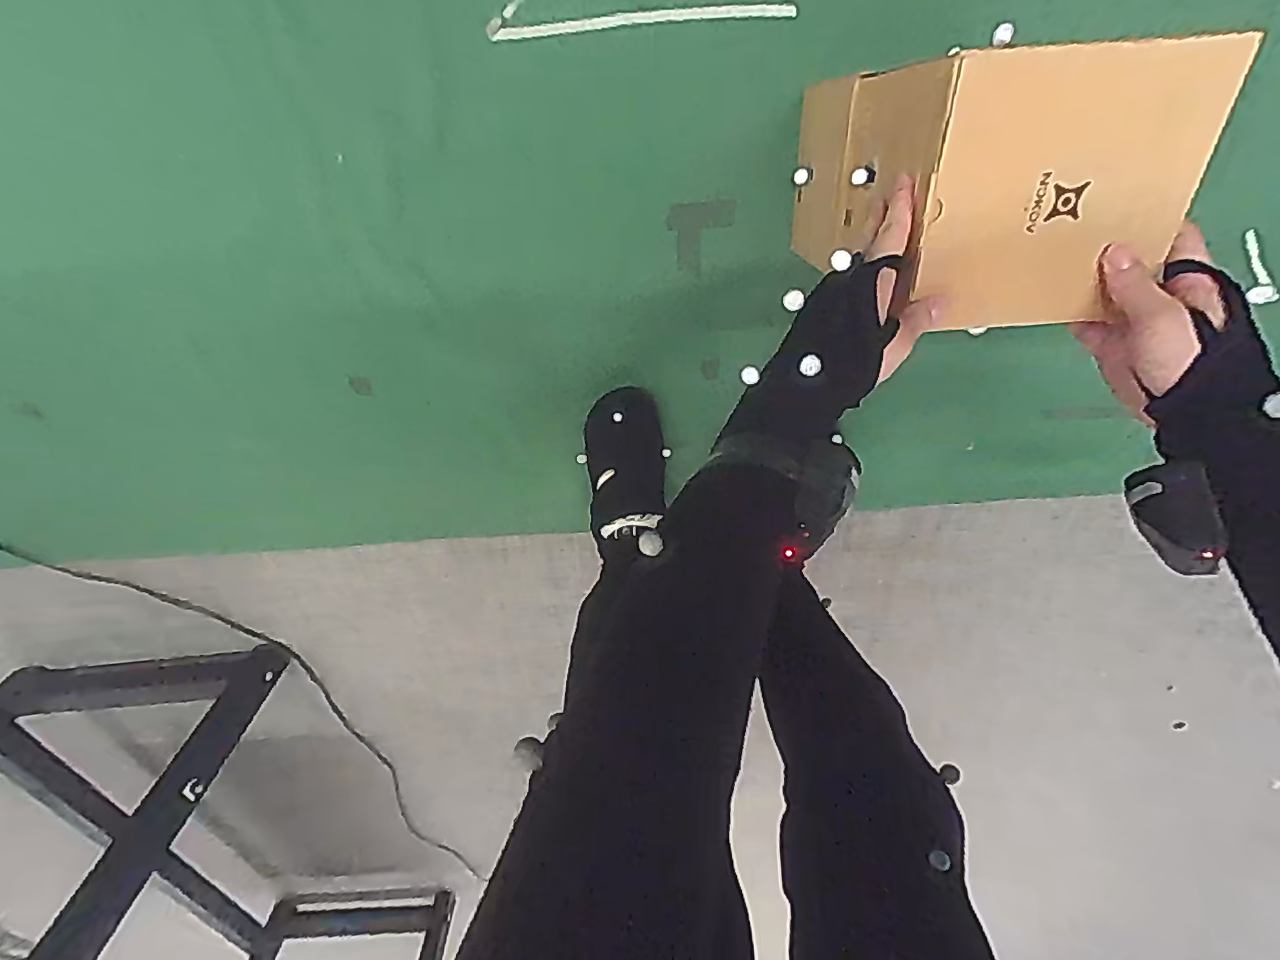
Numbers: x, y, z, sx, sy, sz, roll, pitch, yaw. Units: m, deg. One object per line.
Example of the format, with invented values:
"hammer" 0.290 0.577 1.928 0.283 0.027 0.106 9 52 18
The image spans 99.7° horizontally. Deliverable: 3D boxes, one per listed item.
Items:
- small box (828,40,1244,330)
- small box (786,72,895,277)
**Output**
"small box" 0.268 -0.228 0.425 0.179 0.176 0.168 -3 123 2
"small box" 0.265 -0.318 0.560 0.179 0.176 0.168 -3 122 1
